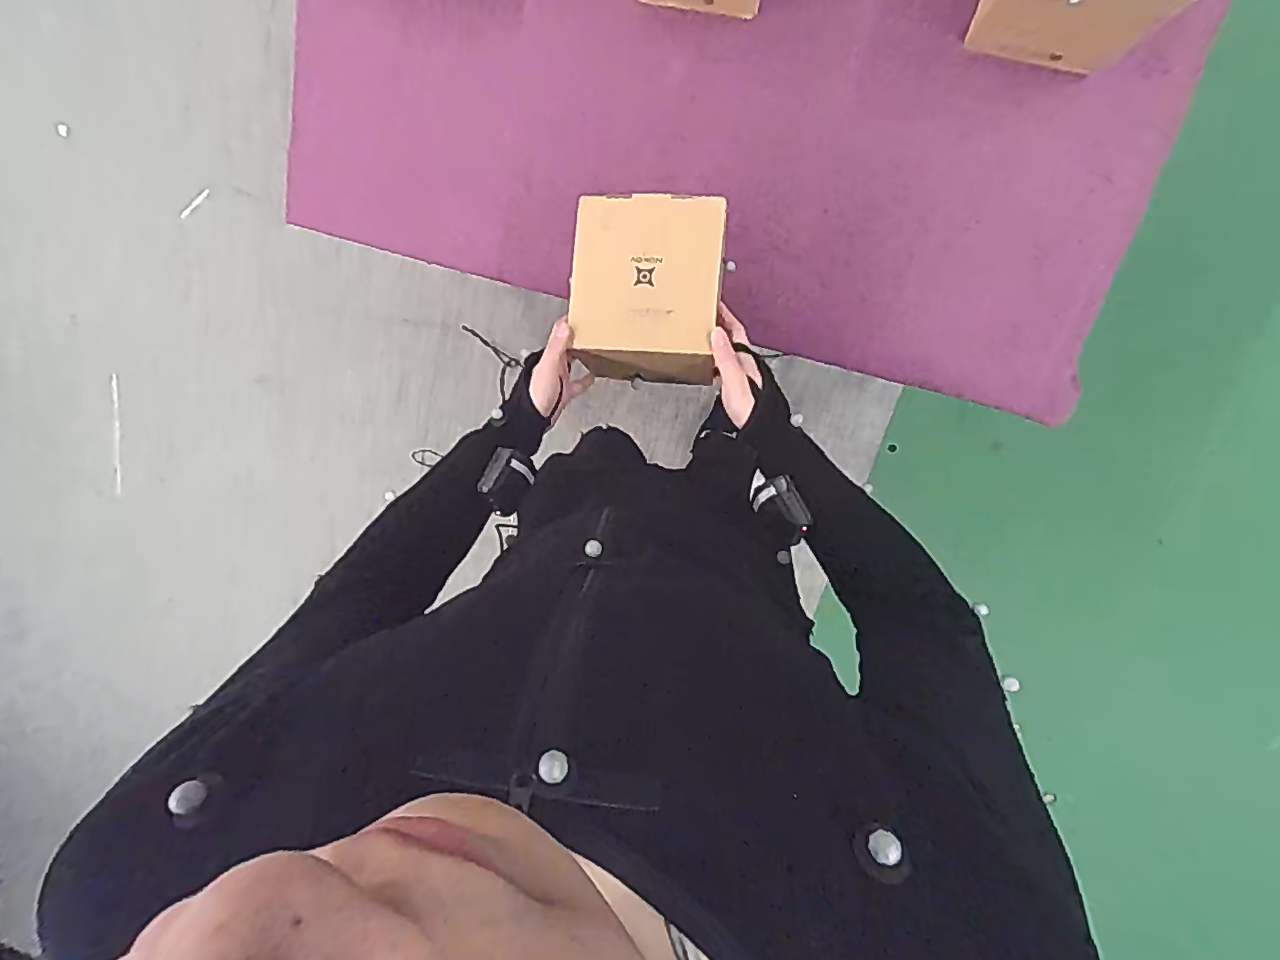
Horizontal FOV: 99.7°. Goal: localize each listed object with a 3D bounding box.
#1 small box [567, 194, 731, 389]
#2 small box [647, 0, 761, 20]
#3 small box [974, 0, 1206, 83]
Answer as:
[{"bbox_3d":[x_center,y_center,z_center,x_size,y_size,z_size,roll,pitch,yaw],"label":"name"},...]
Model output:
[{"bbox_3d":[0.018,-0.219,0.664,0.168,0.176,0.179,5,89,7],"label":"small box"},{"bbox_3d":[0.081,-0.684,0.616,0.168,0.176,0.179,15,106,6],"label":"small box"},{"bbox_3d":[0.491,-0.568,0.567,0.168,0.176,0.179,19,106,7],"label":"small box"}]
